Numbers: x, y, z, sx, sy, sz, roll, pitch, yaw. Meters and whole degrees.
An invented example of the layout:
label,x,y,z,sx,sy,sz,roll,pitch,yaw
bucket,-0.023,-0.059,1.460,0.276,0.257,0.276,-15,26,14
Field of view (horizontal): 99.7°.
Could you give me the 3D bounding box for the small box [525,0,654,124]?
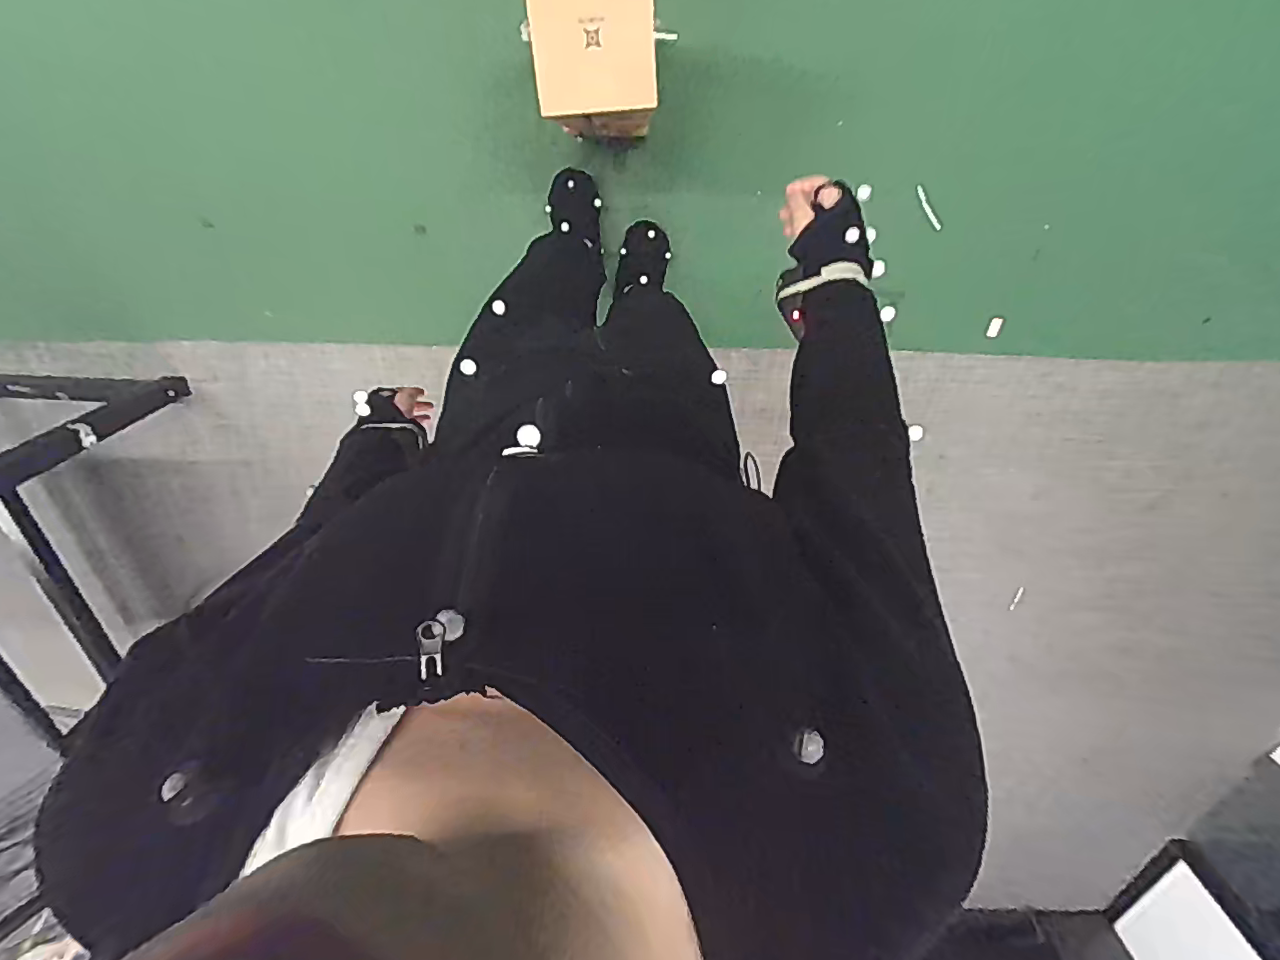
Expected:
label,x,y,z,sx,sy,sz,roll,pitch,yaw
small box,-0.064,-0.626,0.784,0.168,0.176,0.179,-3,120,1
